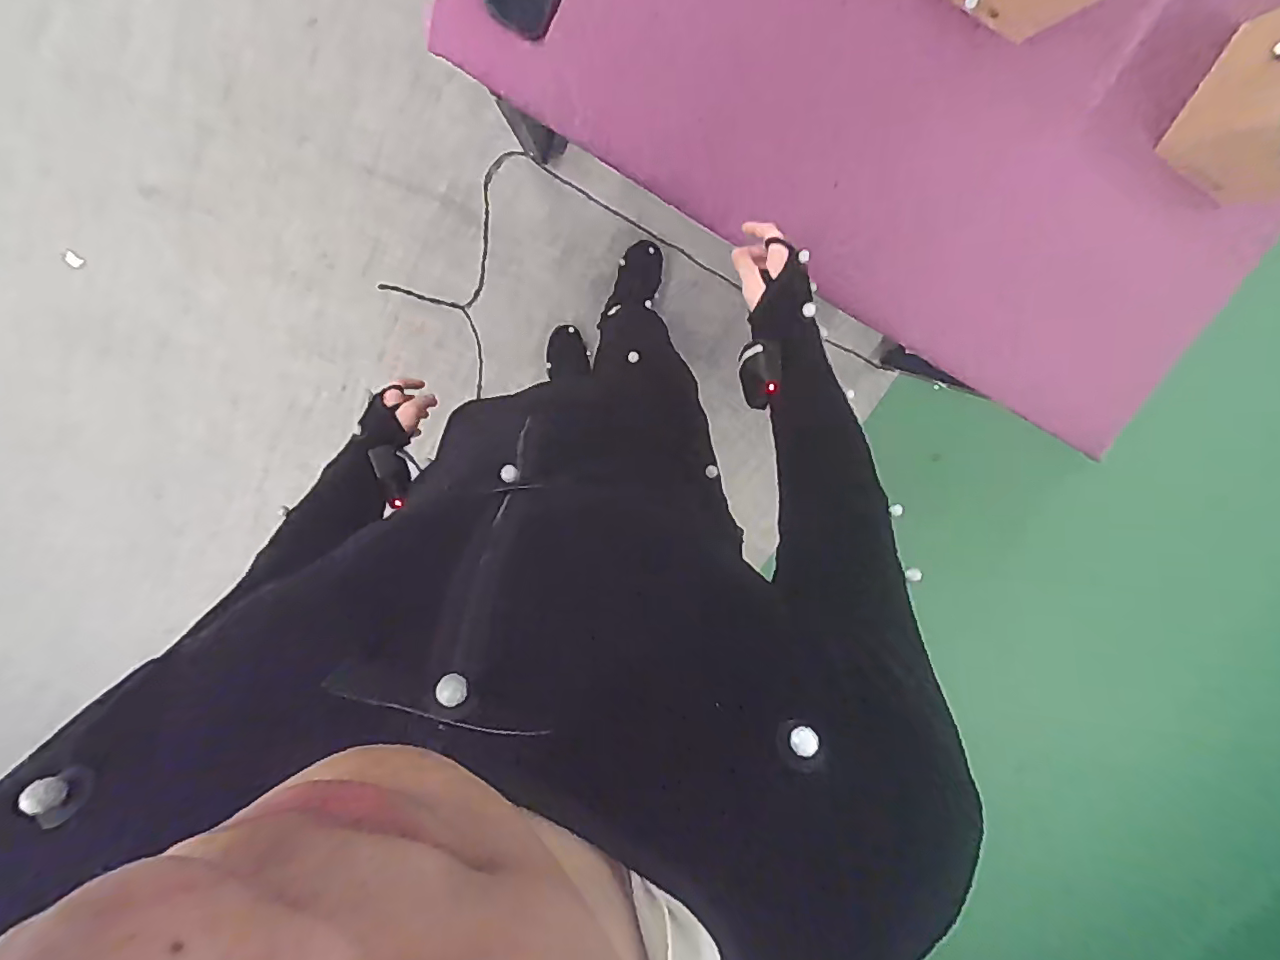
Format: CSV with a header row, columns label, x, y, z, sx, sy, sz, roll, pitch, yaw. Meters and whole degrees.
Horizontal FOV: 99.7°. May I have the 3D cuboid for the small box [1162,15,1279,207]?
label,x,y,z,sx,sy,sz,roll,pitch,yaw
small box,0.851,-0.483,0.693,0.168,0.176,0.179,24,106,-11

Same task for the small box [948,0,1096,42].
label,x,y,z,sx,sy,sz,roll,pitch,yaw
small box,0.468,-0.654,0.604,0.168,0.176,0.179,23,107,-11
